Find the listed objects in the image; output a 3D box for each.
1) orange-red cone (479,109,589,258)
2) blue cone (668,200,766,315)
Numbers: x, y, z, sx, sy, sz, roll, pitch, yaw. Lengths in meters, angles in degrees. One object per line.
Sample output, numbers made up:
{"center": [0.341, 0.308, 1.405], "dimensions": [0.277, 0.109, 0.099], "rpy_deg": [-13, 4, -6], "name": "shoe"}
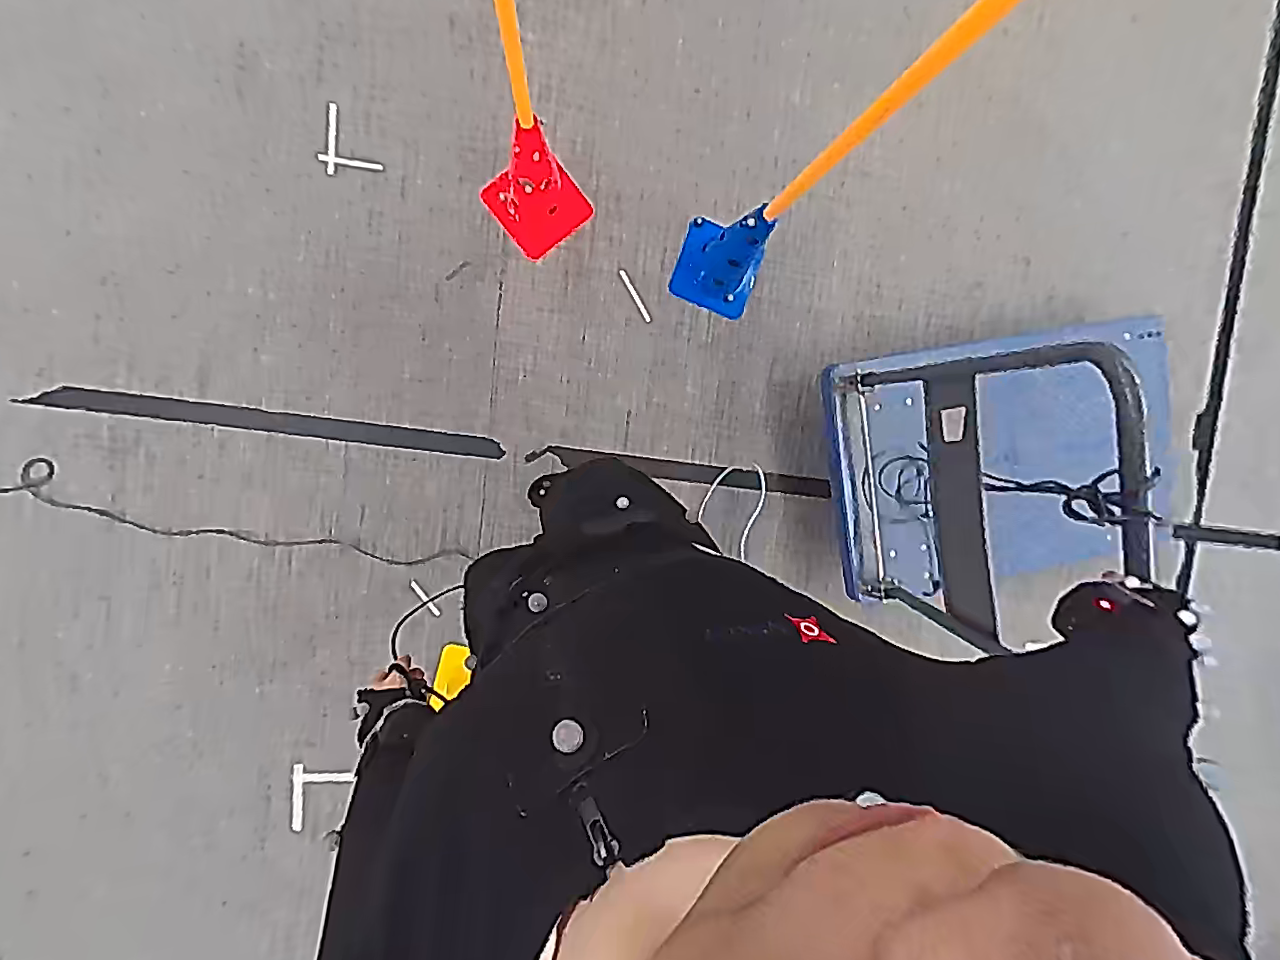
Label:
{"center": [-0.220, -0.626, 1.085], "dimensions": [0.198, 0.360, 0.199], "rpy_deg": [-39, 100, -2], "name": "orange-red cone"}
{"center": [0.199, -0.504, 1.167], "dimensions": [0.192, 0.380, 0.193], "rpy_deg": [21, 92, -8], "name": "blue cone"}
